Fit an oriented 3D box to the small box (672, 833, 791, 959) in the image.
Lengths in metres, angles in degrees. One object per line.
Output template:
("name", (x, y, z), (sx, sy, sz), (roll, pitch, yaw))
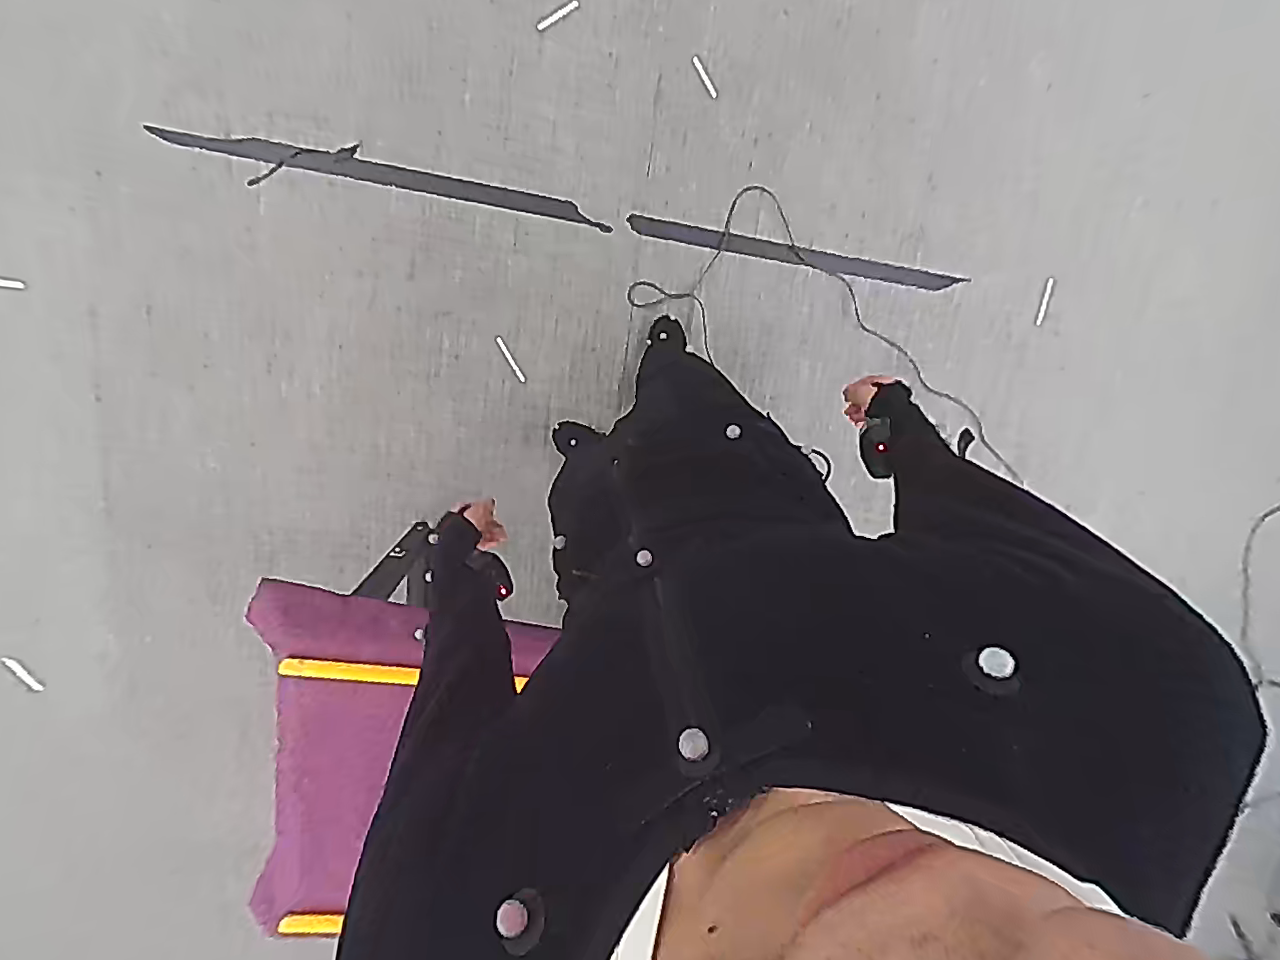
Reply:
("small box", (0.159, 0.797, 1.000), (0.168, 0.176, 0.179), (5, 101, -8))
